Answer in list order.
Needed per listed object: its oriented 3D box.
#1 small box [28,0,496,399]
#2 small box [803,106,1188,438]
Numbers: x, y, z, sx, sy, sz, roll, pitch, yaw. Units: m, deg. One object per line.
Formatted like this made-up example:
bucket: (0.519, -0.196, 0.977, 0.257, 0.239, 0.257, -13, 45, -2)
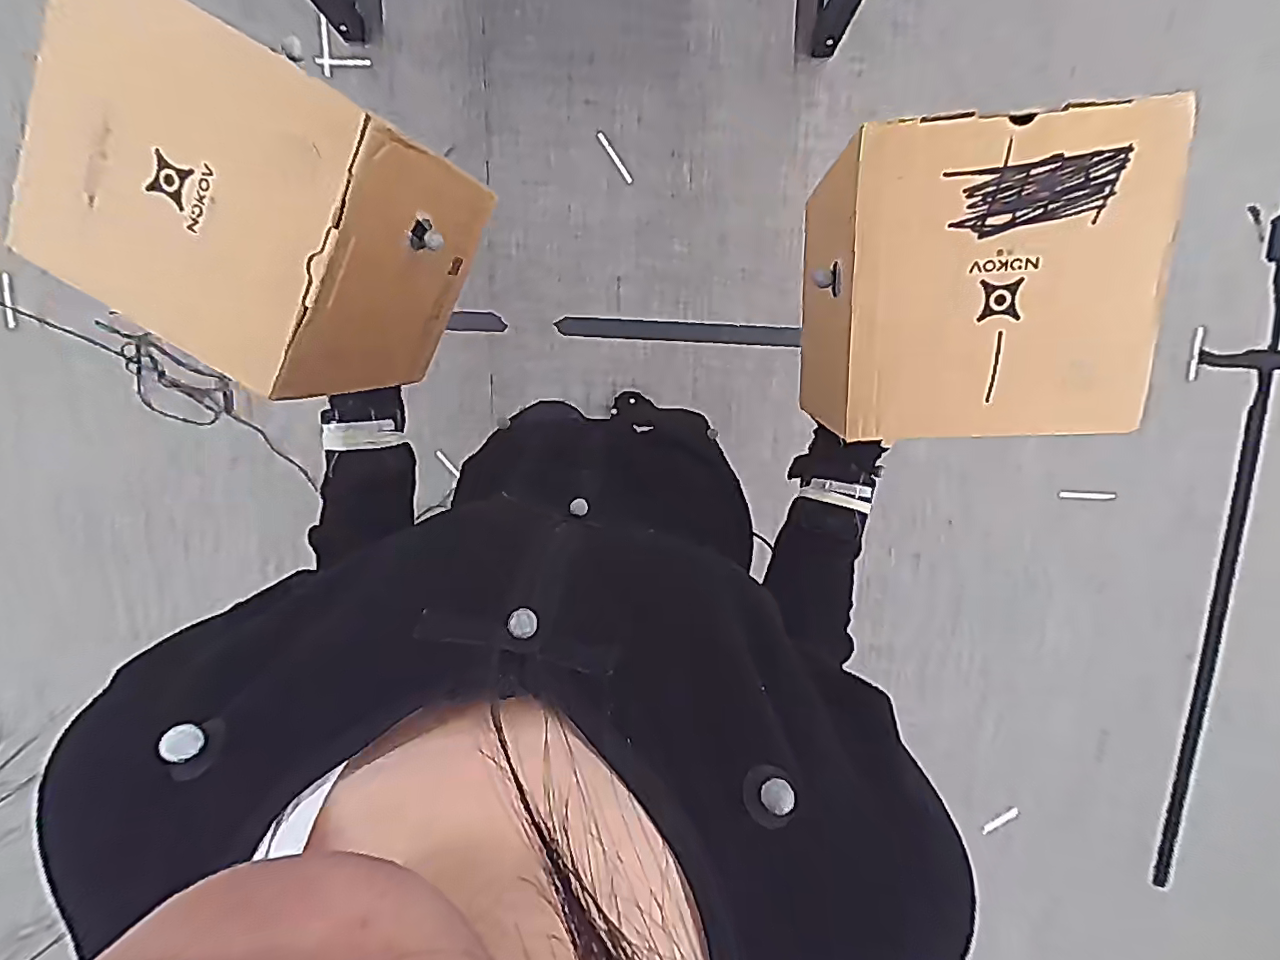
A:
small box: (-0.226, -0.175, 0.366, 0.179, 0.176, 0.168, 30, 105, 0)
small box: (0.216, -0.130, 0.386, 0.168, 0.176, 0.179, -1, 105, 7)
